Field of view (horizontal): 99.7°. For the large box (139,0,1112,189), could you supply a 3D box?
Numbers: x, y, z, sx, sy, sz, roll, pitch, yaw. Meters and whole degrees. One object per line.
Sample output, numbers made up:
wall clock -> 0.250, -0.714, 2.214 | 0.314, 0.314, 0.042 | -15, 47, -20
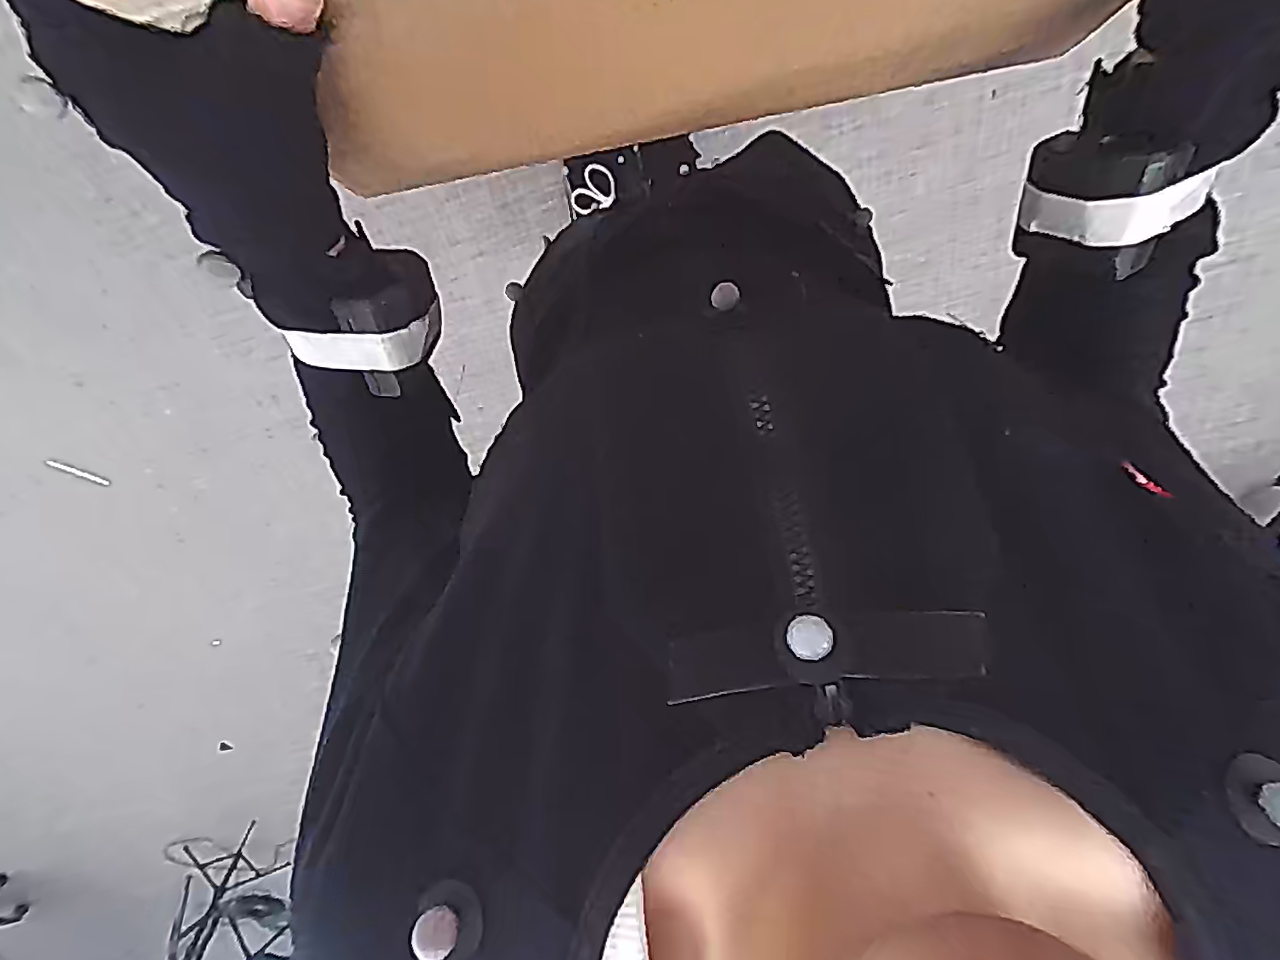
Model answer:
large box -> 0.003, -0.335, 0.145 | 0.408, 0.320, 0.320 | -10, 98, 3
